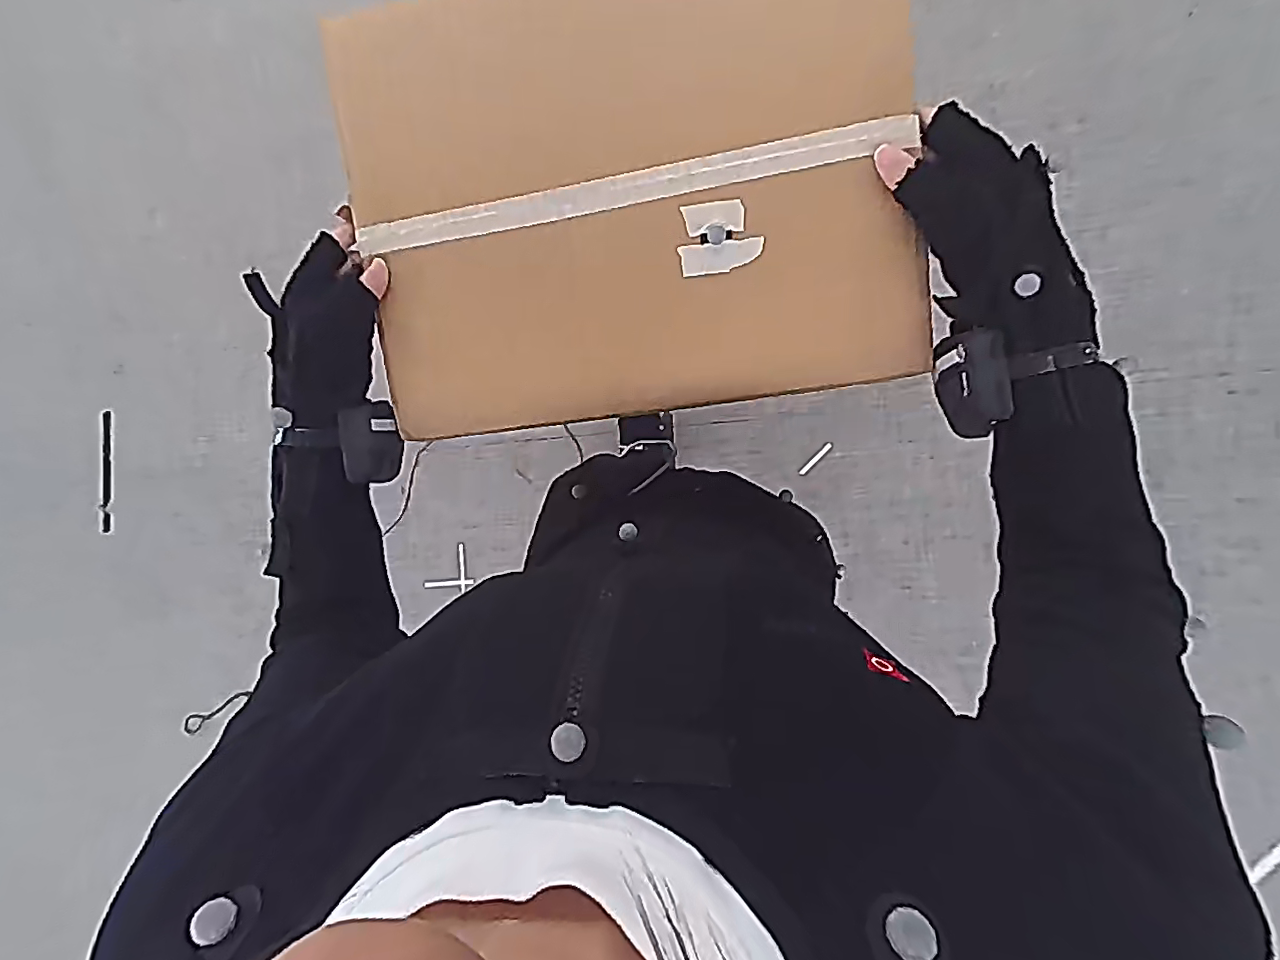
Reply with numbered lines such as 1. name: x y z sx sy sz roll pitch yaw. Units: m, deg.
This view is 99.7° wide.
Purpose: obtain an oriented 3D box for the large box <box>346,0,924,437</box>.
1. large box: 0.007 -0.231 0.547 0.408 0.320 0.320 -7 98 8
